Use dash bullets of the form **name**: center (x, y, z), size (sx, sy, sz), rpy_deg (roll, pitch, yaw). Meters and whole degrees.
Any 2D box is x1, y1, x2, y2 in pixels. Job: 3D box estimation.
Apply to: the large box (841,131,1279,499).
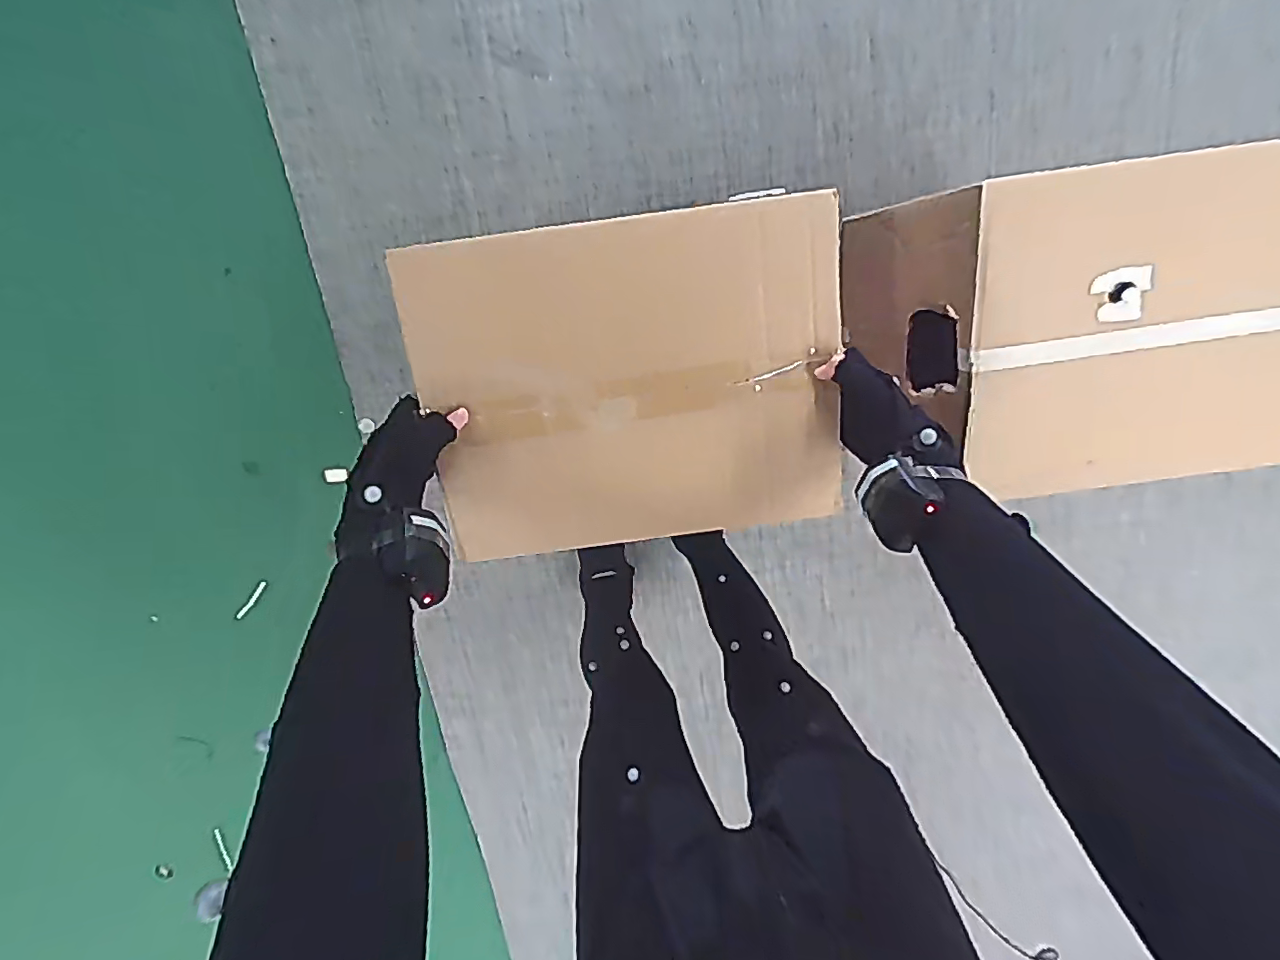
- **large box**: center (0.500, -0.201, 0.663), size (0.408, 0.320, 0.320), rpy_deg (-7, 110, 2)
